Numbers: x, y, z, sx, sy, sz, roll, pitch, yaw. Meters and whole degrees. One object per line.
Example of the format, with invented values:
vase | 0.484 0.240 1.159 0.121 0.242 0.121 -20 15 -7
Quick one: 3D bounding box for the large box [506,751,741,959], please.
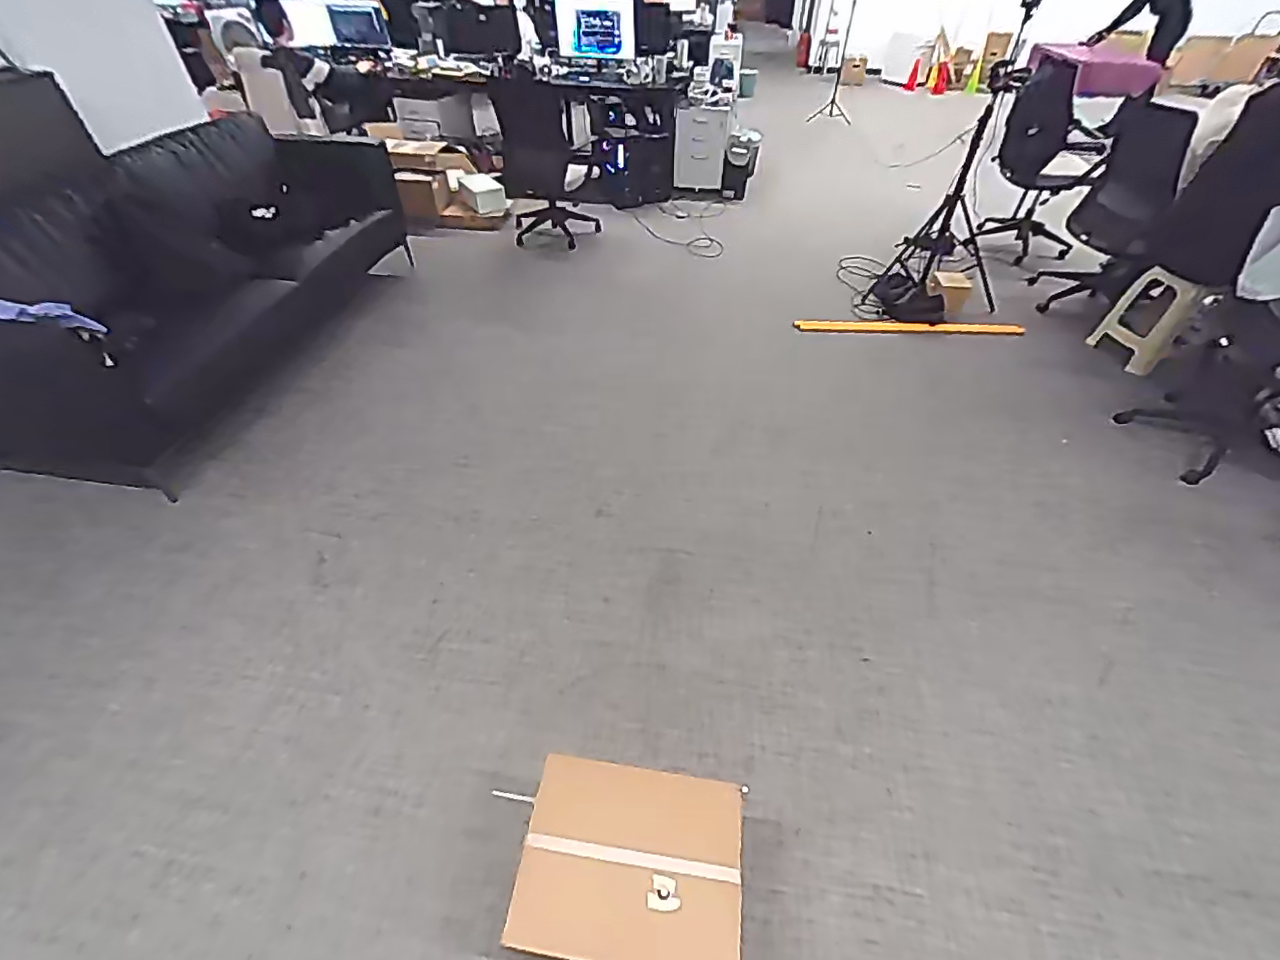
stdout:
large box | -0.017 0.798 1.110 0.408 0.320 0.320 7 45 6
